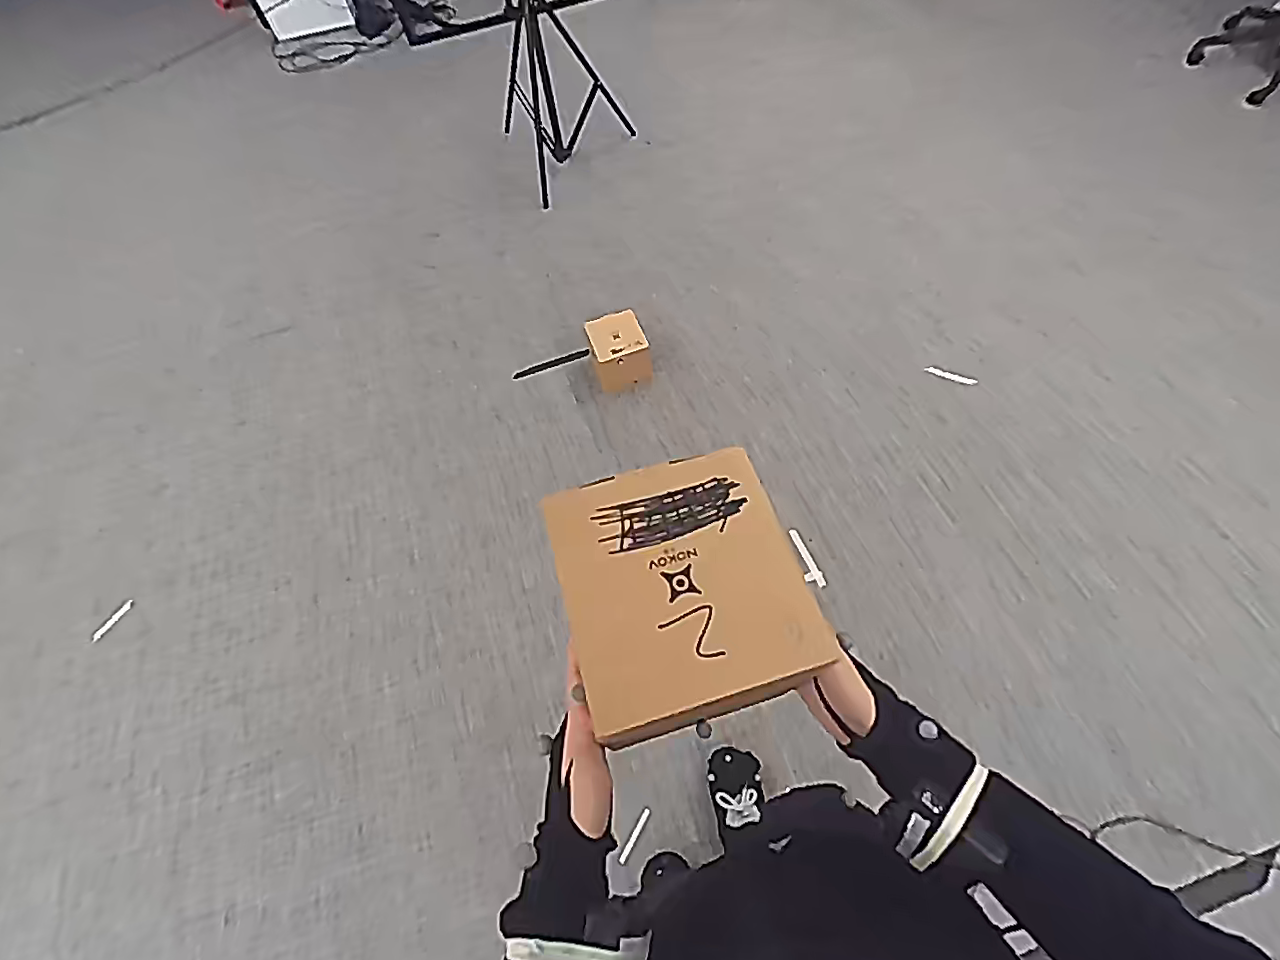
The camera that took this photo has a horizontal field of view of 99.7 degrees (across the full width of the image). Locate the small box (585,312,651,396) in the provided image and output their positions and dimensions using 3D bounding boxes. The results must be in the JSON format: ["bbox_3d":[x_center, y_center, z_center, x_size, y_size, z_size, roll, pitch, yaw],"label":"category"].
[{"bbox_3d":[-0.069,-0.407,1.759,0.168,0.176,0.179,-20,61,-6],"label":"small box"}]
